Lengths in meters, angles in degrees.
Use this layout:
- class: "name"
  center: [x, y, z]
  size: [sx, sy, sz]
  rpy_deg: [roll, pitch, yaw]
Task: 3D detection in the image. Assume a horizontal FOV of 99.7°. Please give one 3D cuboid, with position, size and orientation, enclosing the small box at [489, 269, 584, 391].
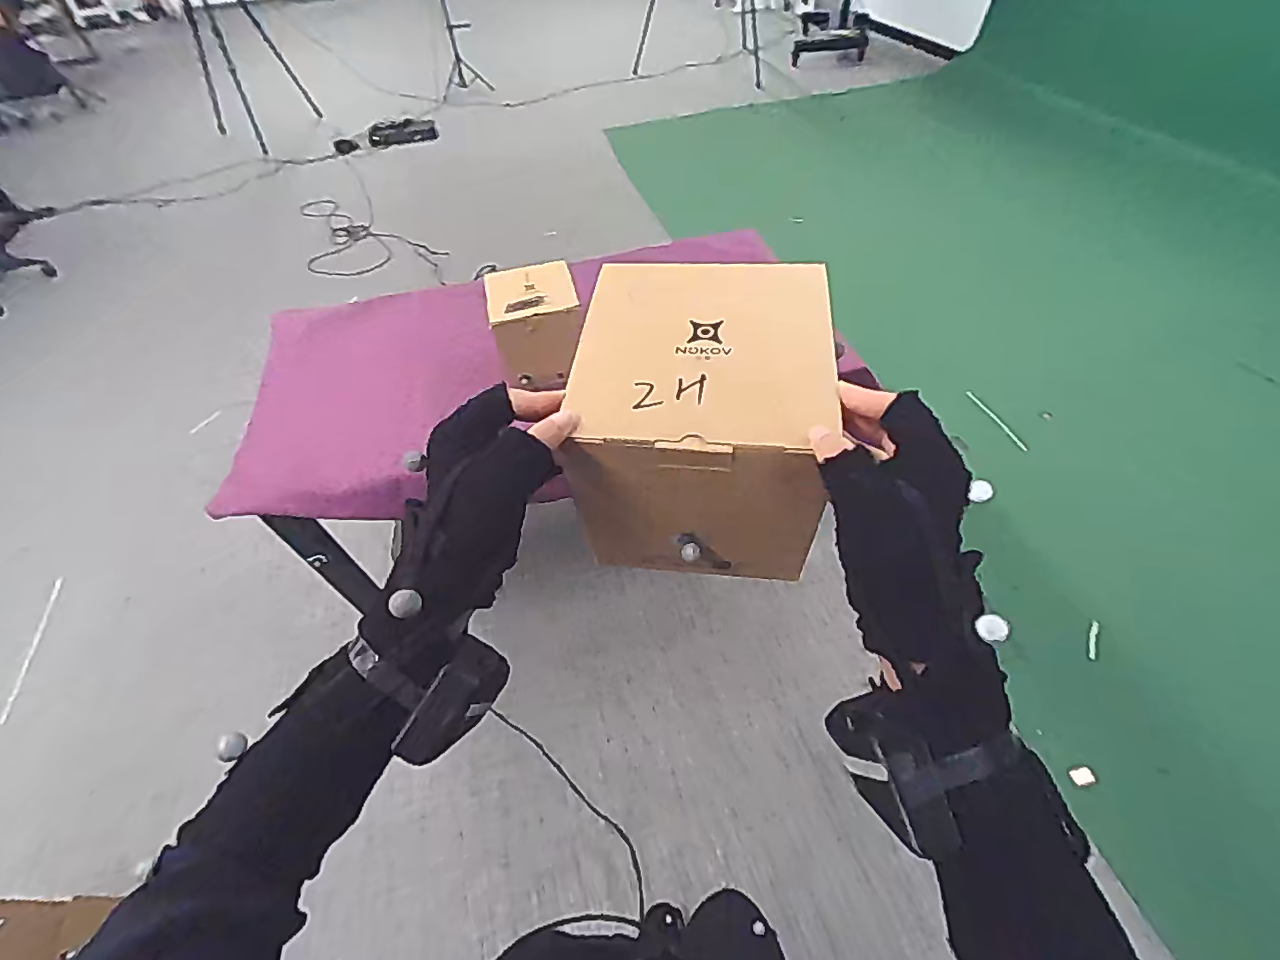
- class: "small box"
  center: [-0.200, -0.298, 1.100]
  size: [0.168, 0.176, 0.179]
  rpy_deg: [-13, 50, -6]

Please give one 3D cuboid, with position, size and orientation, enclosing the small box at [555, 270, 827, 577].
- class: "small box"
  center: [0.045, -0.043, 0.431]
  size: [0.168, 0.176, 0.179]
  rpy_deg: [3, 55, 9]
